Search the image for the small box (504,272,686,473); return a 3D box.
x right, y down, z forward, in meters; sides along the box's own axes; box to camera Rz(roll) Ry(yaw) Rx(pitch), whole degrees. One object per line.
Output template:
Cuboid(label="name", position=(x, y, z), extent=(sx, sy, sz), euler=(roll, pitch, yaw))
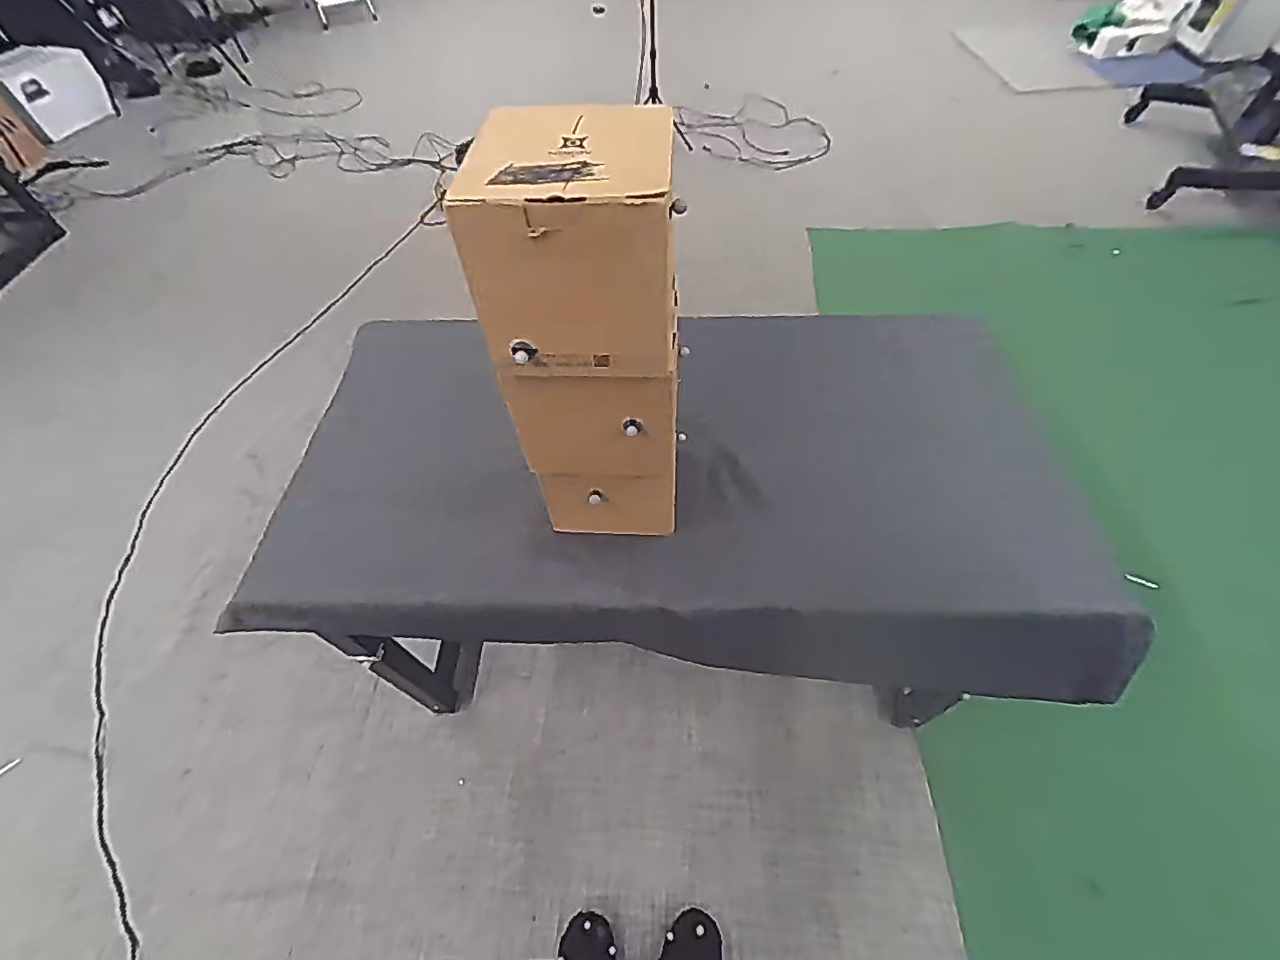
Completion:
Cuboid(label="small box", position=(-0.042, -0.120, 0.625), extent=(0.179, 0.176, 0.168), euler=(-1, 53, 1))

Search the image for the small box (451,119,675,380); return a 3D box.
Cuboid(label="small box", position=(-0.052, -0.209, 0.507), extent=(0.168, 0.176, 0.179), euler=(1, 52, 4))

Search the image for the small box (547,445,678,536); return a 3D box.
Cuboid(label="small box", position=(-0.034, -0.029, 0.782), extent=(0.179, 0.176, 0.168), euler=(-1, 52, 2))
